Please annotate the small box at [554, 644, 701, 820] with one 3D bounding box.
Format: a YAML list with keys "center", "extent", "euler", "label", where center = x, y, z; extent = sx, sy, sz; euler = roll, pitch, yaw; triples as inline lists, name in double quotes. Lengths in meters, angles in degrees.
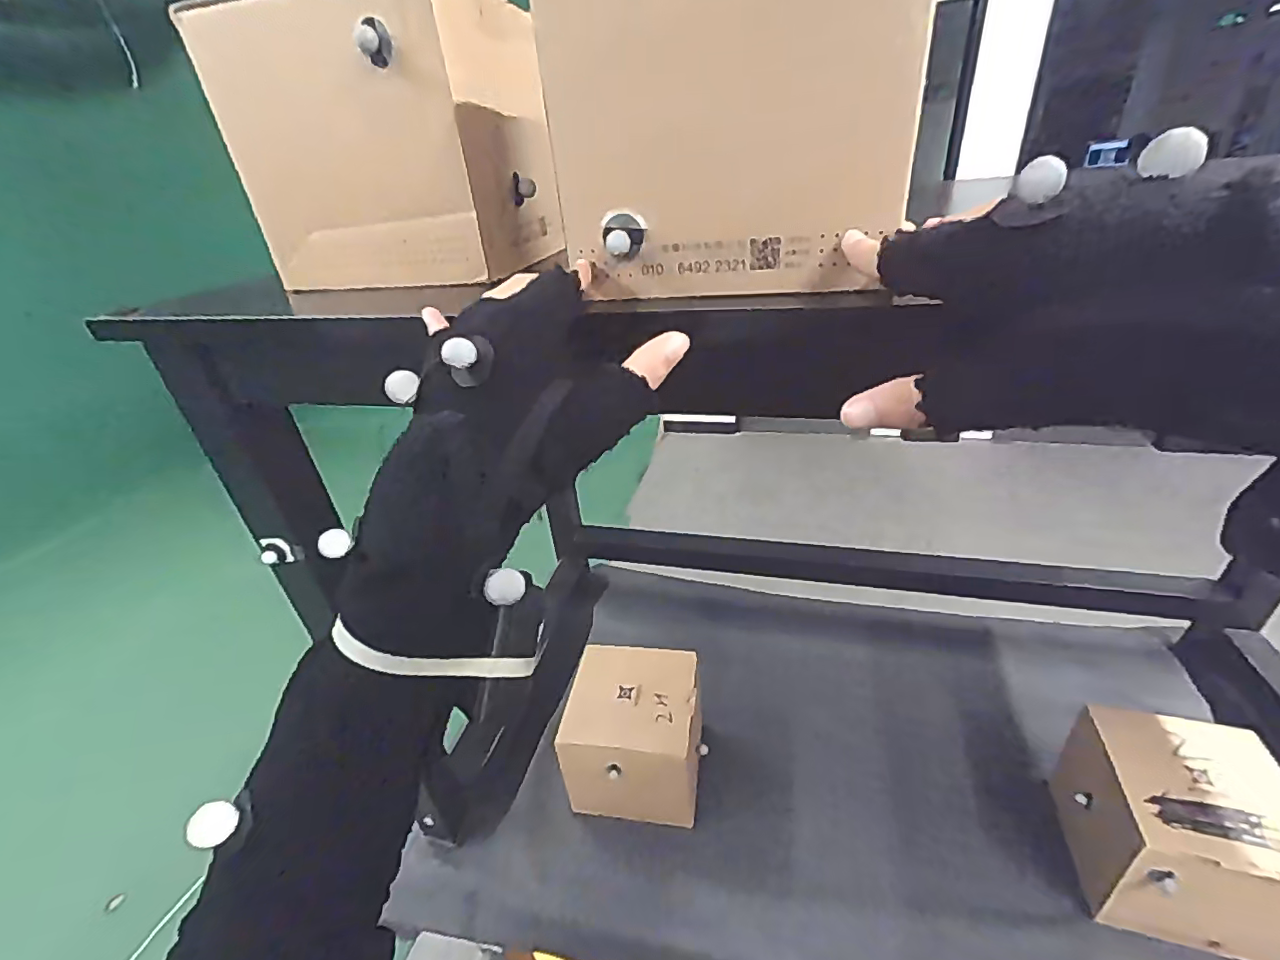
- center: [-0.007, 0.366, 0.793]
  extent: [0.179, 0.176, 0.168]
  euler: [2, 32, 11]
  label: "small box"

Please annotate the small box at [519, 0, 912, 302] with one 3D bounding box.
- center: [0.052, -0.204, 0.311]
  extent: [0.168, 0.176, 0.179]
  euler: [4, 32, 15]
  label: "small box"
